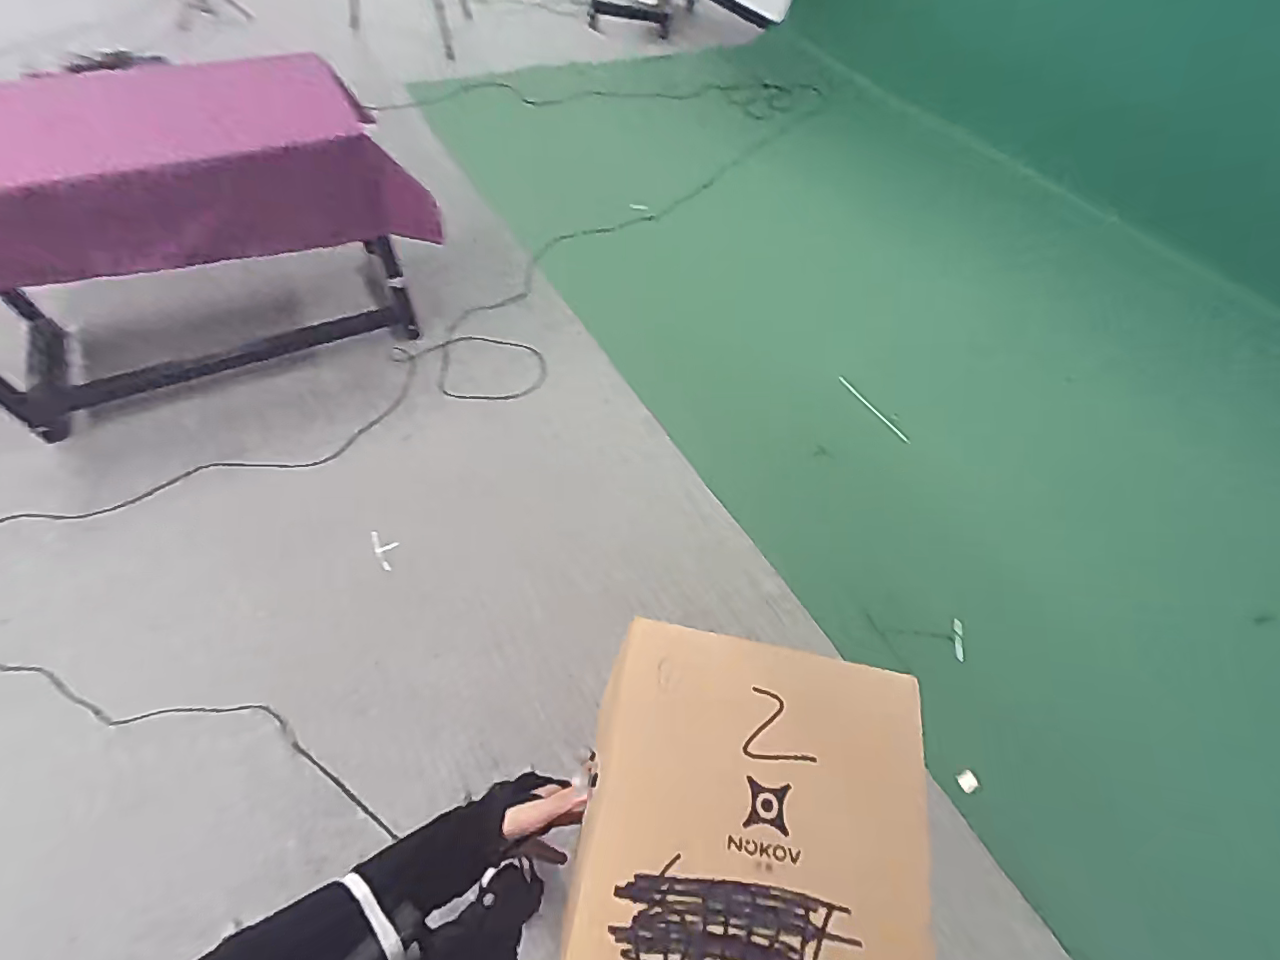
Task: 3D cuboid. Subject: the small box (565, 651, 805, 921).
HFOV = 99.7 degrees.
[{"bbox_3d":[0.036,0.269,0.497,0.179,0.176,0.168,10,61,0],"label":"small box"}]
